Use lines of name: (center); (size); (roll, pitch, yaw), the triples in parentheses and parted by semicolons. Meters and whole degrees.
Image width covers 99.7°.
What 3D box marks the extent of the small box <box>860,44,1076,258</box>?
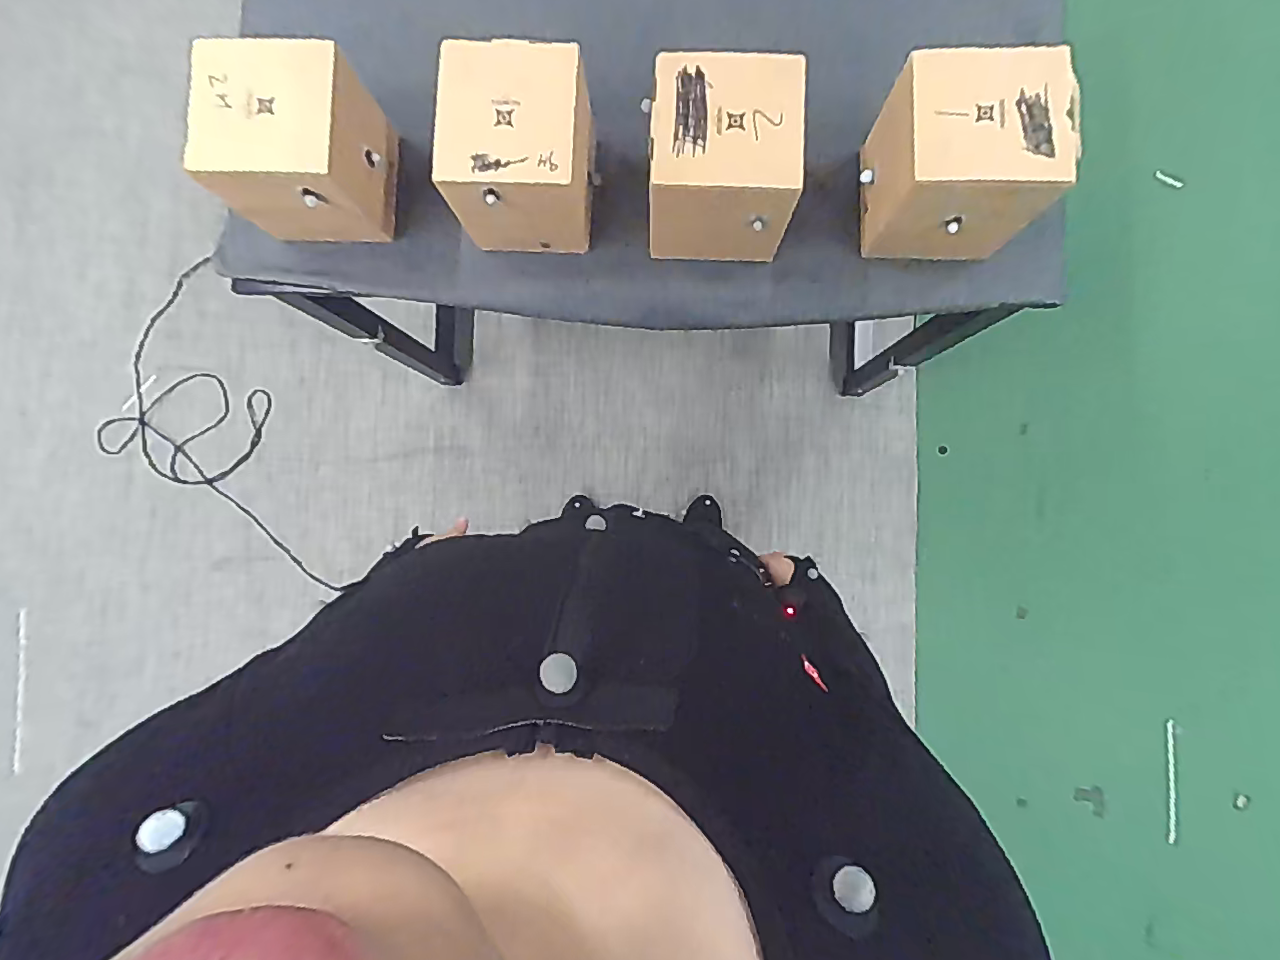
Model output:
small box: (0.396, -0.397, 0.678); (0.179, 0.176, 0.168); (3, 84, 4)
